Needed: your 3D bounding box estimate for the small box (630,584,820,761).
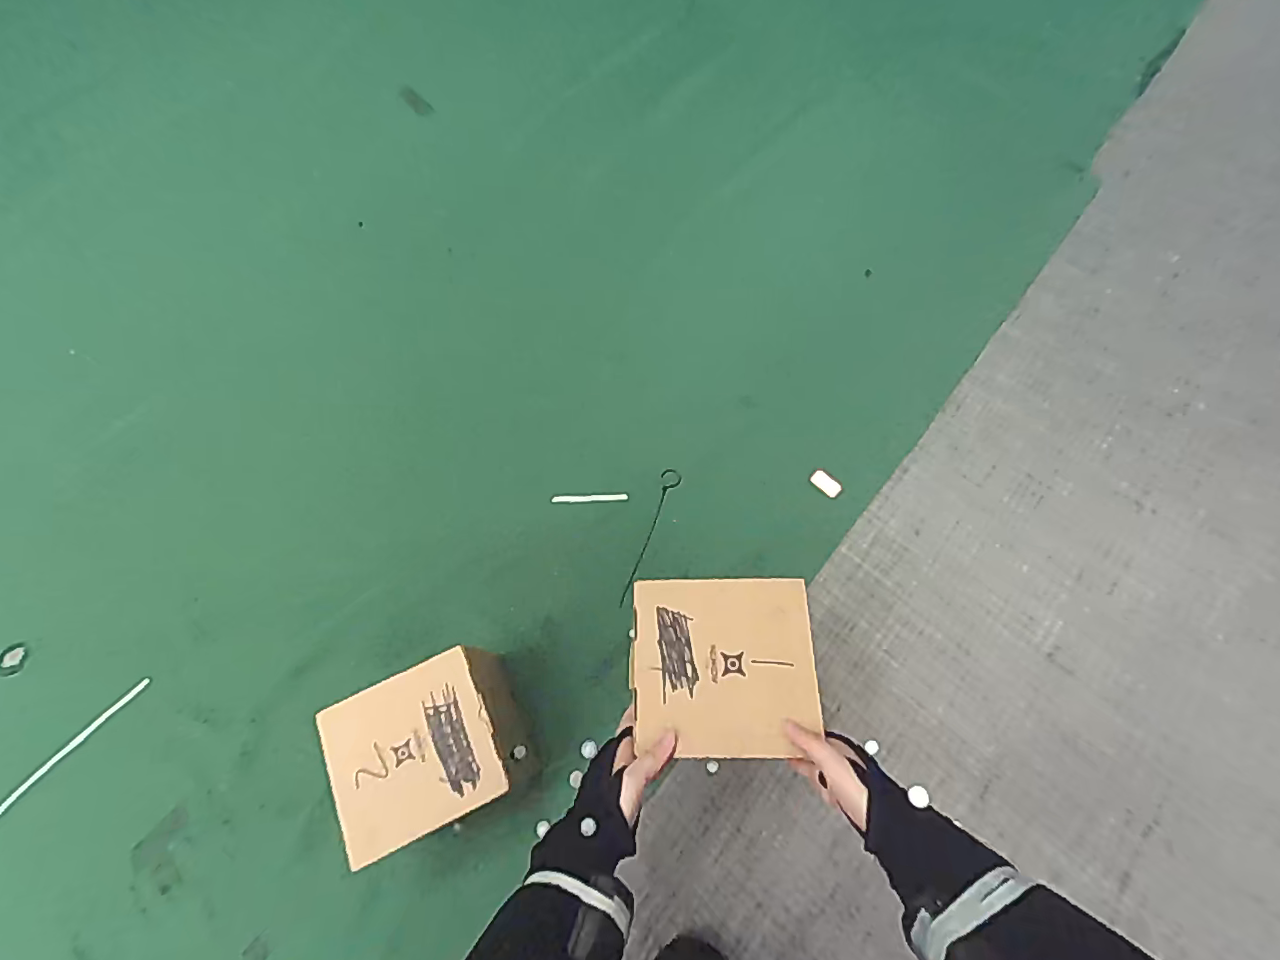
[{"bbox_3d":[0.083,0.218,0.599,0.179,0.176,0.168,-1,64,3],"label":"small box"}]
